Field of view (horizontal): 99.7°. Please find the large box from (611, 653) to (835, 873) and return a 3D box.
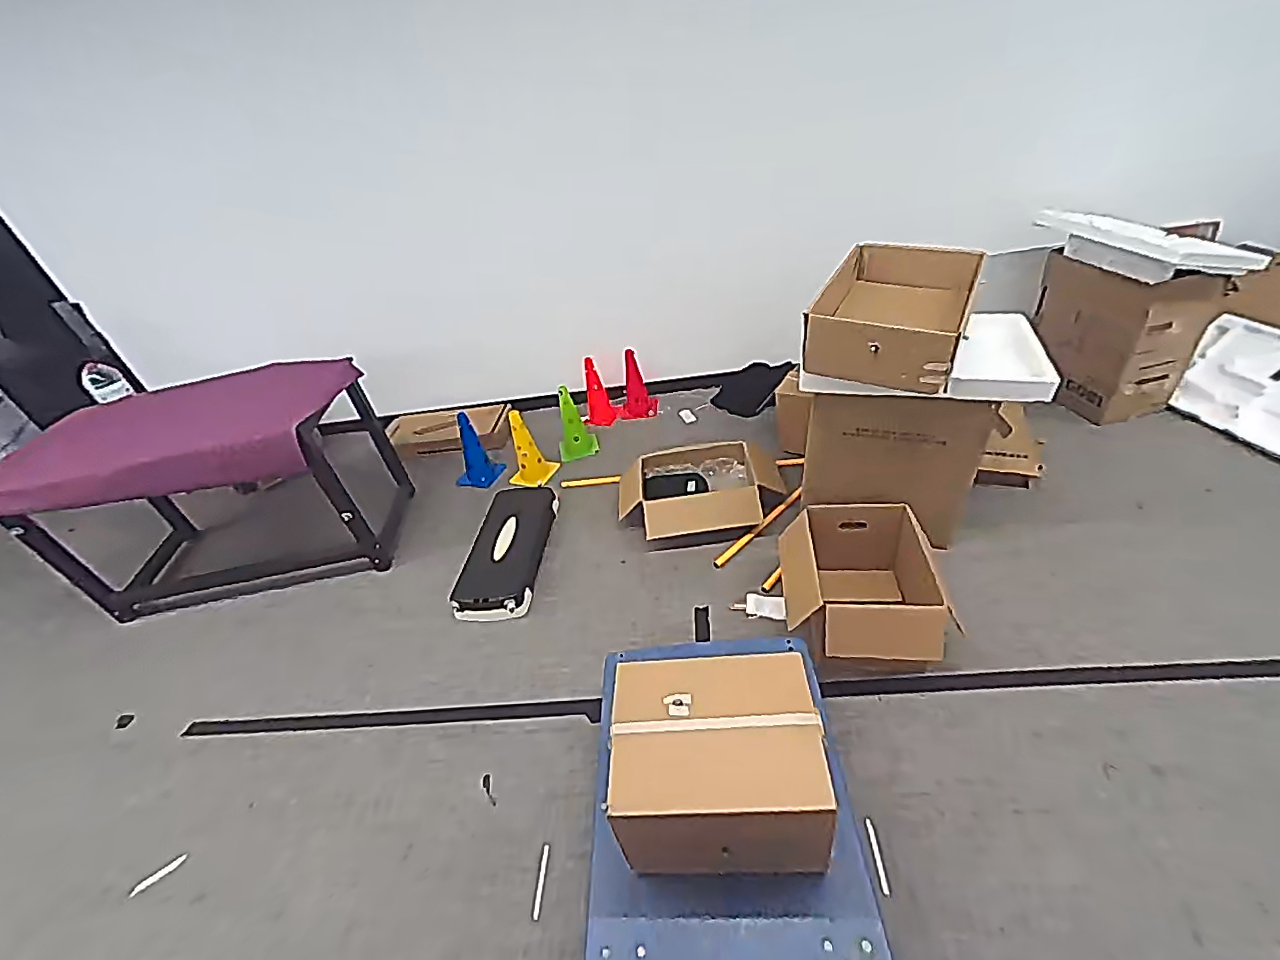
[{"bbox_3d":[0.171,0.611,1.165,0.408,0.320,0.320,-7,36,7],"label":"large box"}]
